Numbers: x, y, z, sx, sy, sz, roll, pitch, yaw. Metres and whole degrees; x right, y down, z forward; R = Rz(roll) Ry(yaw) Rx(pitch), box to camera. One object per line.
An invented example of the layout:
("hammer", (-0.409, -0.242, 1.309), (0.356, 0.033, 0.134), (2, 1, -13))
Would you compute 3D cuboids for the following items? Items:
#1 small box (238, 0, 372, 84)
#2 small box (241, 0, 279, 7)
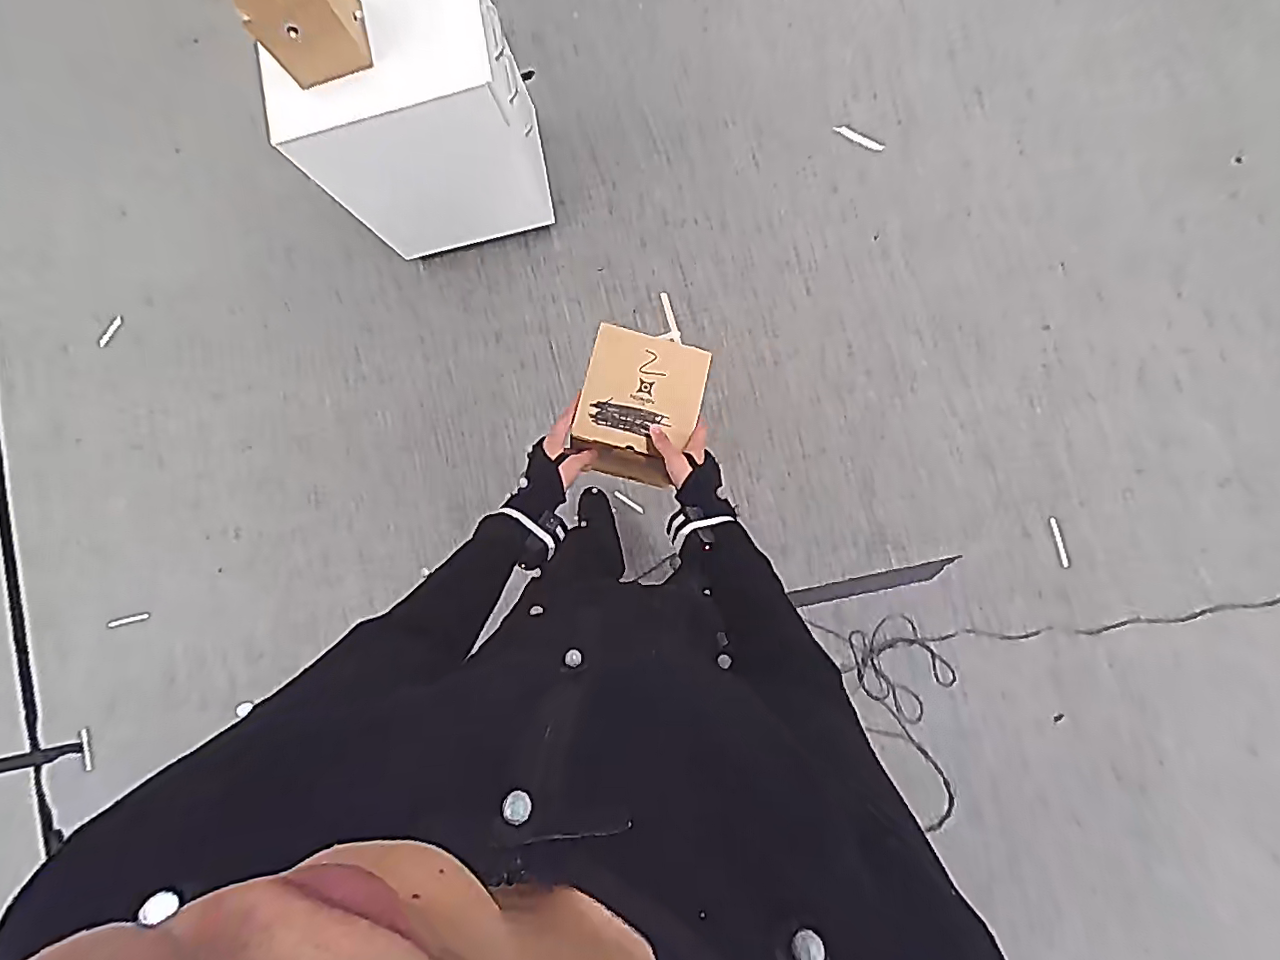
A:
("small box", (-0.695, -0.974, 1.124), (0.179, 0.176, 0.168), (-14, 85, 5))
("small box", (-0.704, -1.000, 0.963), (0.168, 0.176, 0.179), (-13, 84, 5))
